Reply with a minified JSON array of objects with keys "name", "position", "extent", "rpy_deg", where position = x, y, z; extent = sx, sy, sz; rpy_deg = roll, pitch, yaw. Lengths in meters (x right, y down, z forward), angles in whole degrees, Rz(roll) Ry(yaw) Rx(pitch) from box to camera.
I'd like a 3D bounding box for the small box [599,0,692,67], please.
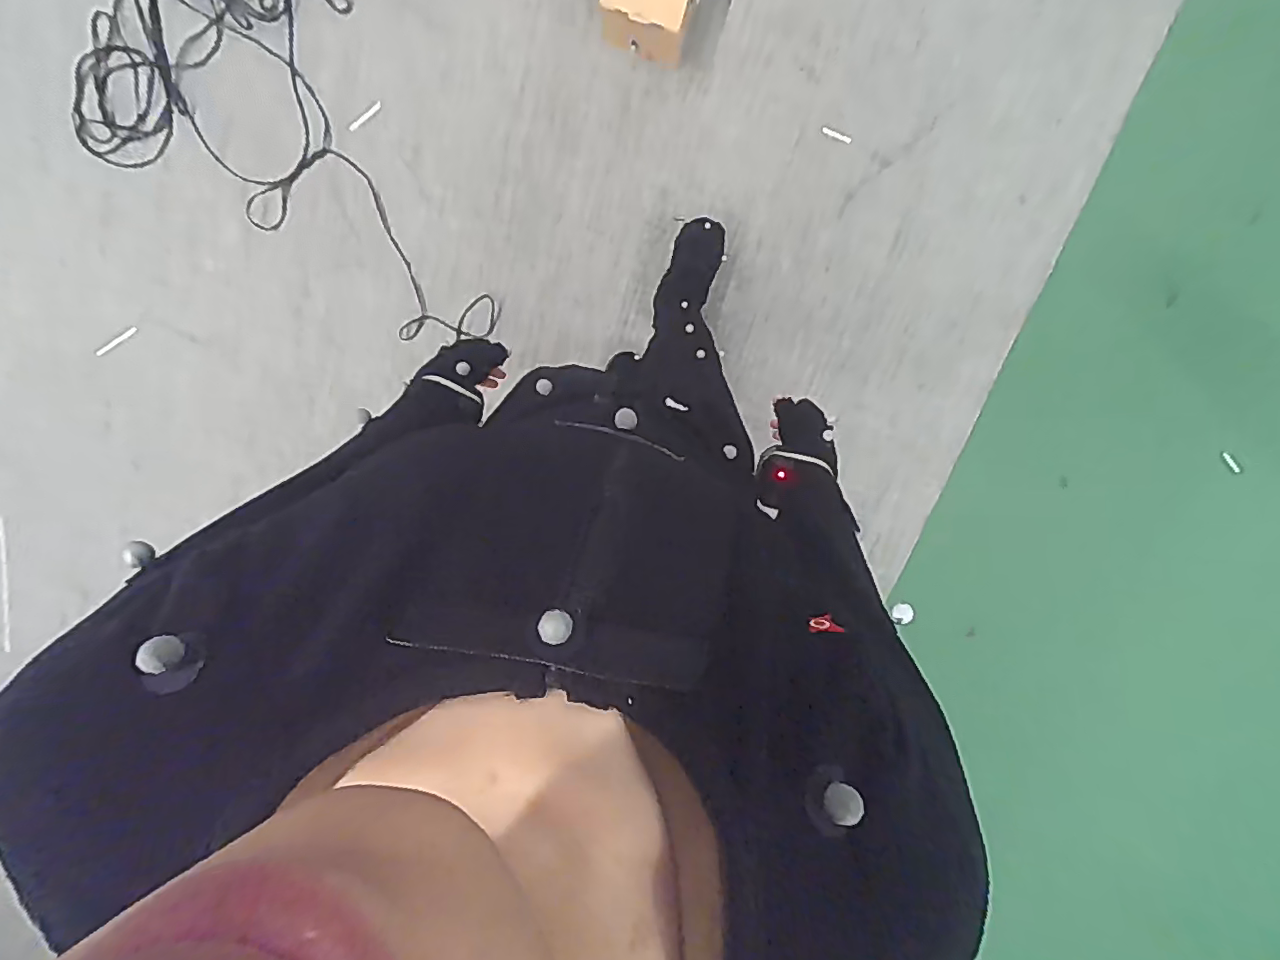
[{"name":"small box","position":[0.020,-1.005,1.108],"extent":[0.168,0.176,0.179],"rpy_deg":[17,106,-3]}]
